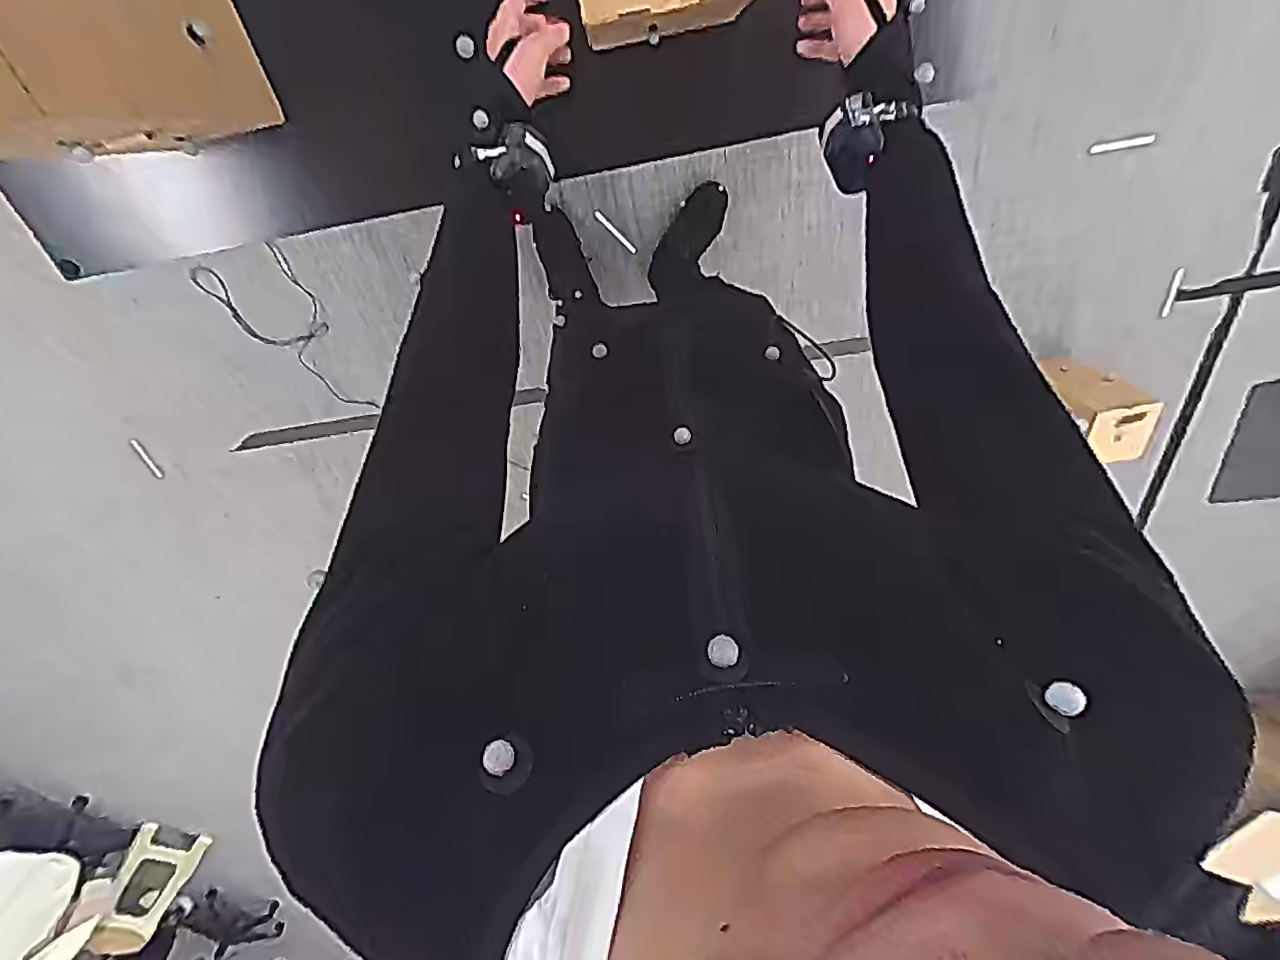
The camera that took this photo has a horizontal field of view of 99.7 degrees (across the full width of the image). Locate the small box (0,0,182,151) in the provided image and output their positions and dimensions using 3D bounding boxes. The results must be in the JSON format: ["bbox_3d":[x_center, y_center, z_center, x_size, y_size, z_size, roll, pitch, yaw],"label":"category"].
[{"bbox_3d":[-0.506,-0.350,0.390,0.168,0.176,0.179,-10,123,4],"label":"small box"}]

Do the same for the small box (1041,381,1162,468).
[{"bbox_3d":[1.242,-0.158,1.475,0.168,0.176,0.179,-9,125,3],"label":"small box"}]

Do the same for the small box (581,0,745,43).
[{"bbox_3d":[0.014,-0.534,0.494,0.168,0.176,0.179,-10,124,4],"label":"small box"}]

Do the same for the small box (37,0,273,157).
[{"bbox_3d":[-0.513,-0.438,0.529,0.168,0.176,0.179,-11,124,4],"label":"small box"}]
